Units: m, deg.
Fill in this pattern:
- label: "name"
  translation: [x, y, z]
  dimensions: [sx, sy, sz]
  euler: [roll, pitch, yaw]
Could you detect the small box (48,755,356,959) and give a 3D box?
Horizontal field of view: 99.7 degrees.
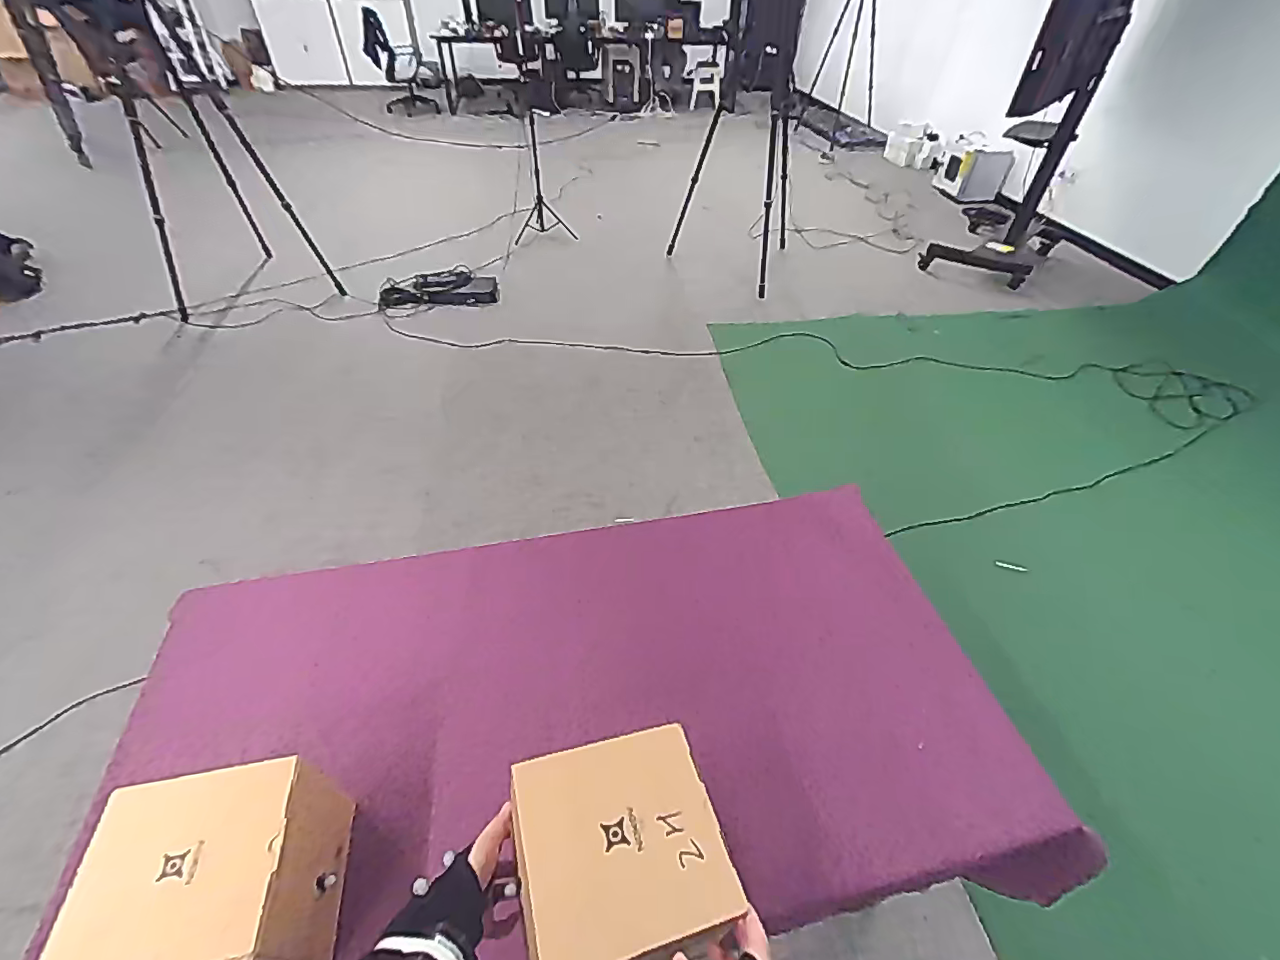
- label: "small box"
  translation: [-0.425, 0.415, 0.559]
  dimensions: [0.179, 0.176, 0.168]
  euler: [-7, 45, -10]
